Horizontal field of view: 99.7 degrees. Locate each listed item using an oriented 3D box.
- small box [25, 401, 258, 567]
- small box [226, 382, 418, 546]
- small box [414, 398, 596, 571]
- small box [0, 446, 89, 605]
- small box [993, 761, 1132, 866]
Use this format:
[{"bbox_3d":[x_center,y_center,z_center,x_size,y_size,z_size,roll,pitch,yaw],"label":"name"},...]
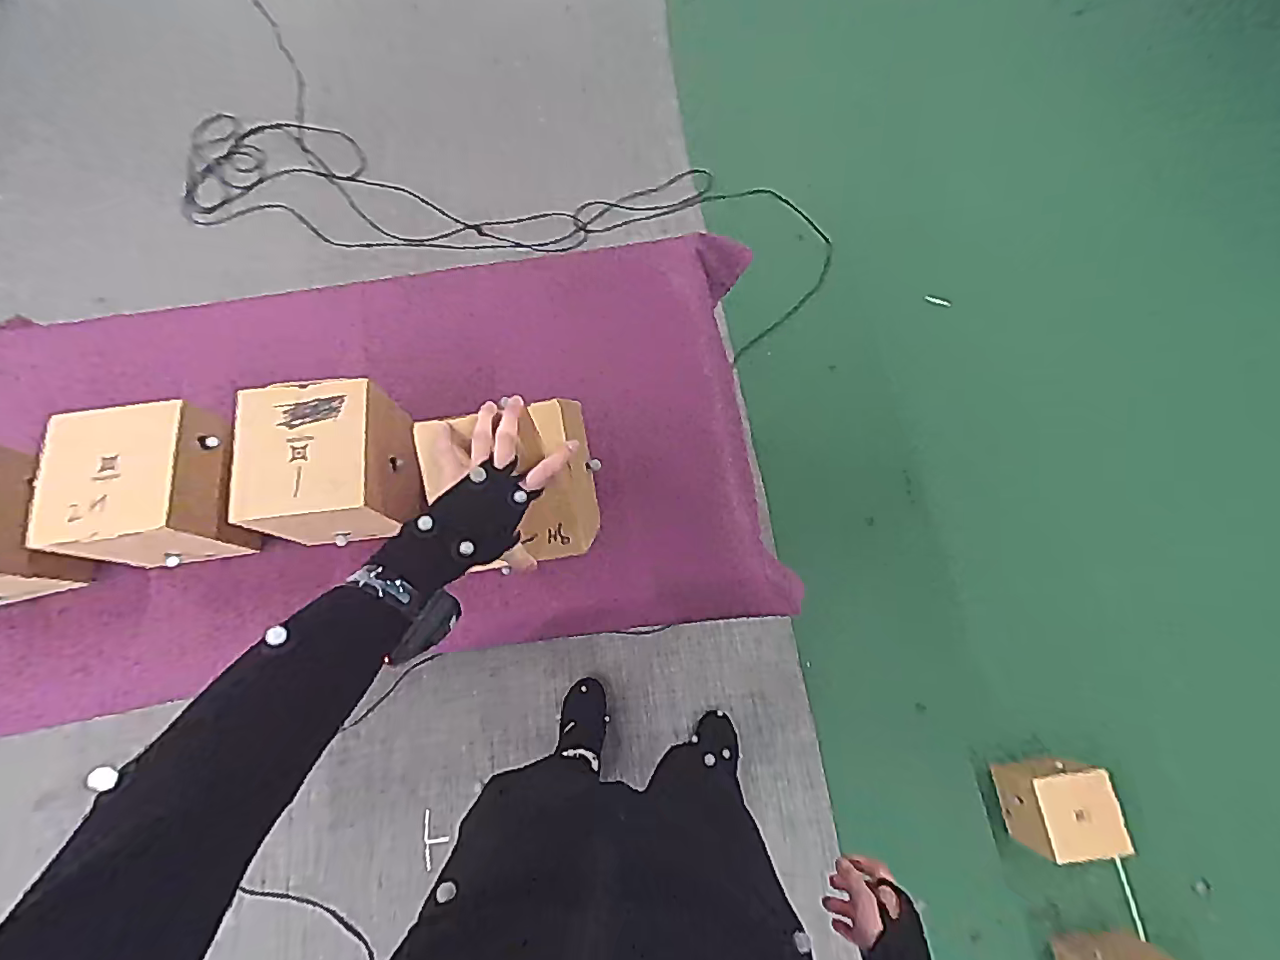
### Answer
[{"bbox_3d":[-0.655,0.013,0.742,0.168,0.176,0.179,-8,73,-2],"label":"small box"},{"bbox_3d":[-0.421,-0.015,0.748,0.168,0.176,0.179,-6,74,-1],"label":"small box"},{"bbox_3d":[-0.154,-0.001,0.675,0.168,0.176,0.179,-9,96,3],"label":"small box"},{"bbox_3d":[-0.898,0.067,0.728,0.168,0.176,0.179,-13,74,-3],"label":"small box"},{"bbox_3d":[0.963,0.766,1.257,0.179,0.176,0.168,-7,73,-2],"label":"small box"}]
